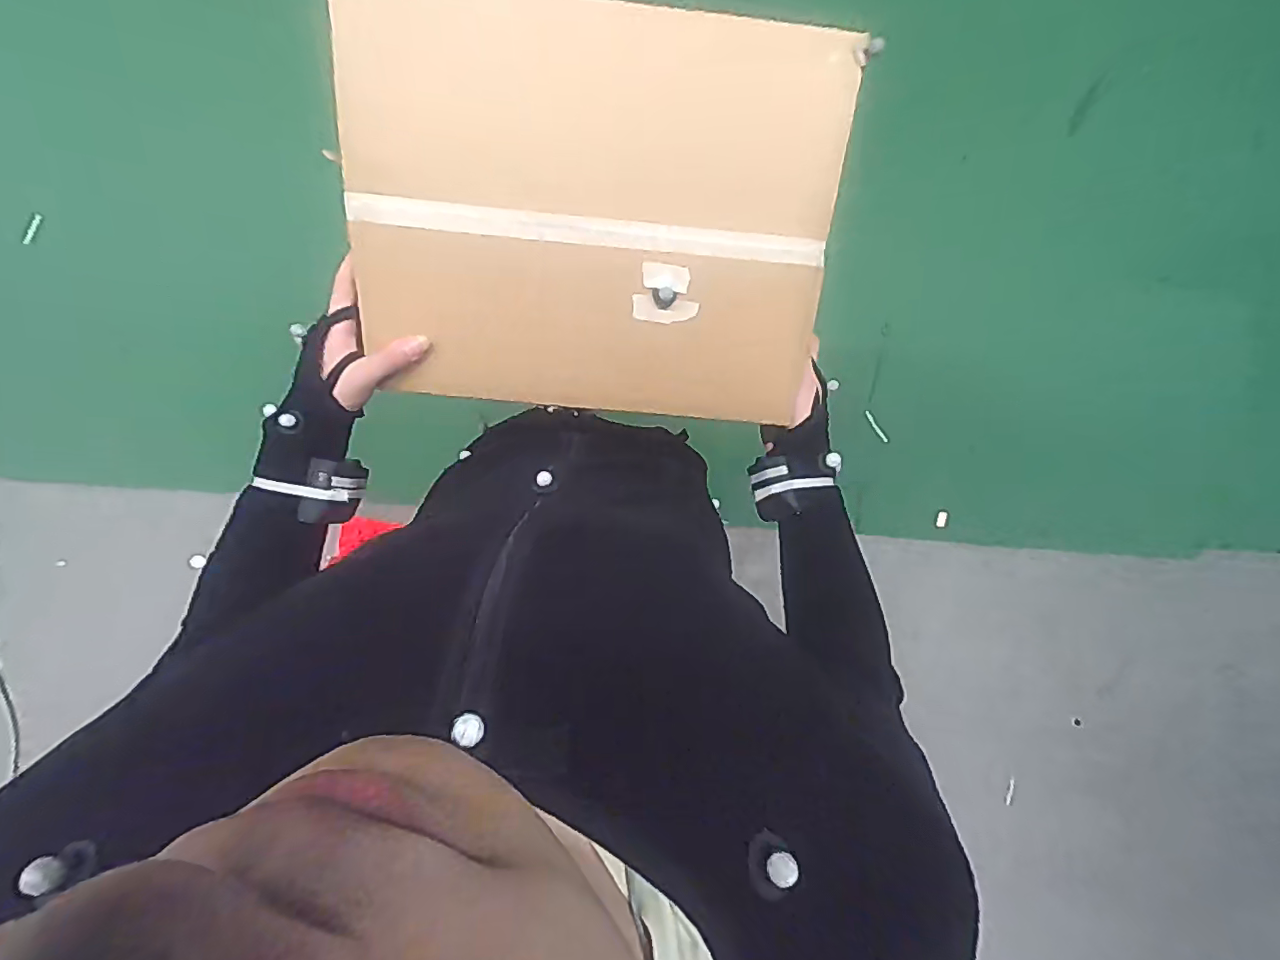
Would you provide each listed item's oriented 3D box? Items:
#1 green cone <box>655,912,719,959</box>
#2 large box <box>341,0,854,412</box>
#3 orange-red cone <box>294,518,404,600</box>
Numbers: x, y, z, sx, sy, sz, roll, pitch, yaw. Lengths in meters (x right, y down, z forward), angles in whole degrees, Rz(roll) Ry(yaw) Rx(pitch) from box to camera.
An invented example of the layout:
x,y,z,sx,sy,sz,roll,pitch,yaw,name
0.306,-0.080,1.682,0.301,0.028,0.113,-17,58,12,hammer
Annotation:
x,y,z,sx,sy,sz,roll,pitch,yaw,name
0.179,1.630,1.719,0.200,0.368,0.202,10,96,-6,green cone
-0.047,-0.276,0.606,0.408,0.320,0.320,5,113,-4,large box
-0.802,0.242,1.434,0.199,0.360,0.198,12,97,-5,orange-red cone
